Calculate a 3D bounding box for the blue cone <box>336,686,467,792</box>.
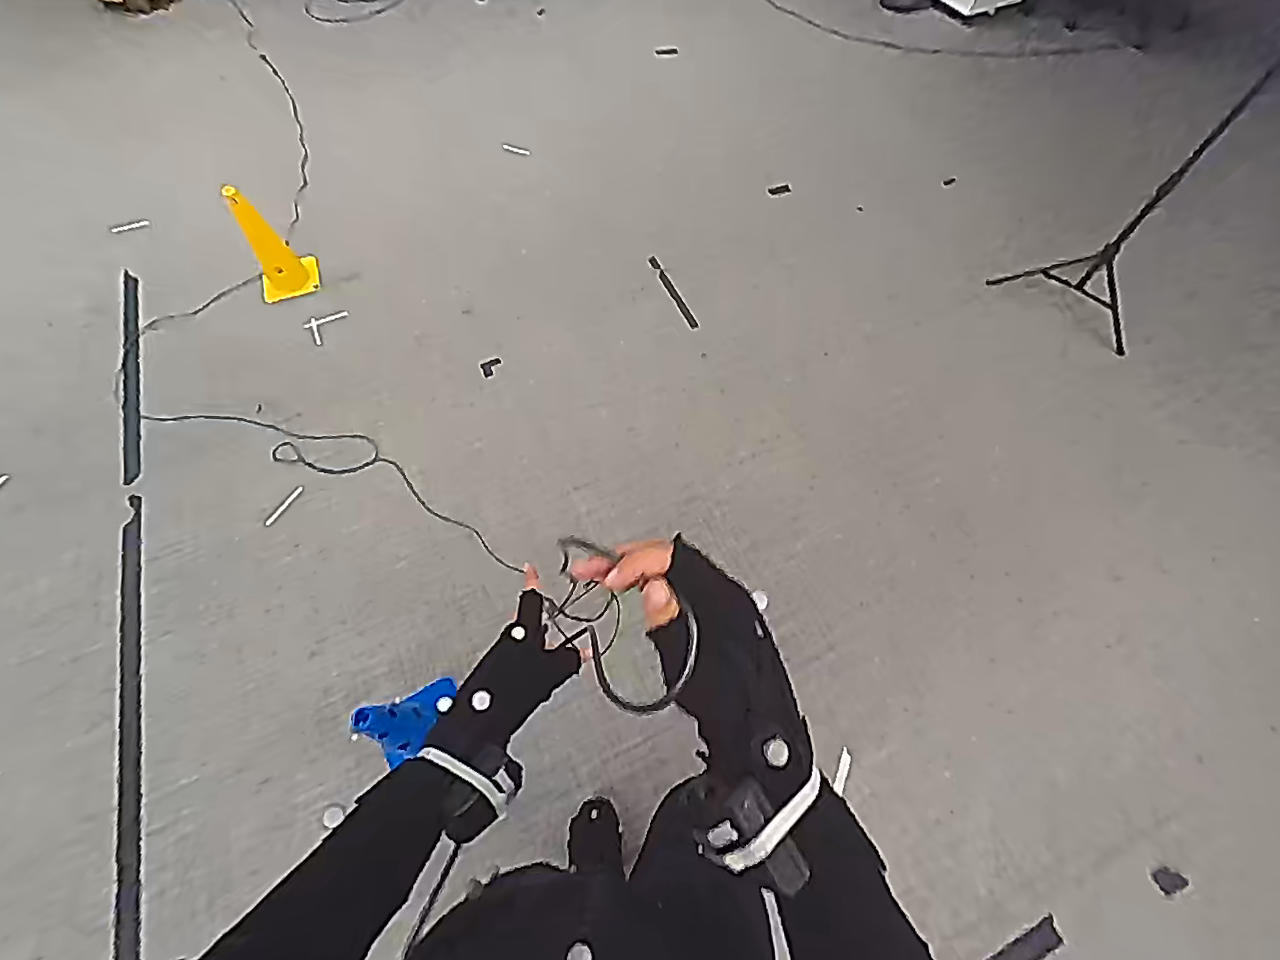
[{"bbox_3d":[-0.522,0.530,1.140,0.192,0.380,0.193,-27,65,-13],"label":"blue cone"}]
